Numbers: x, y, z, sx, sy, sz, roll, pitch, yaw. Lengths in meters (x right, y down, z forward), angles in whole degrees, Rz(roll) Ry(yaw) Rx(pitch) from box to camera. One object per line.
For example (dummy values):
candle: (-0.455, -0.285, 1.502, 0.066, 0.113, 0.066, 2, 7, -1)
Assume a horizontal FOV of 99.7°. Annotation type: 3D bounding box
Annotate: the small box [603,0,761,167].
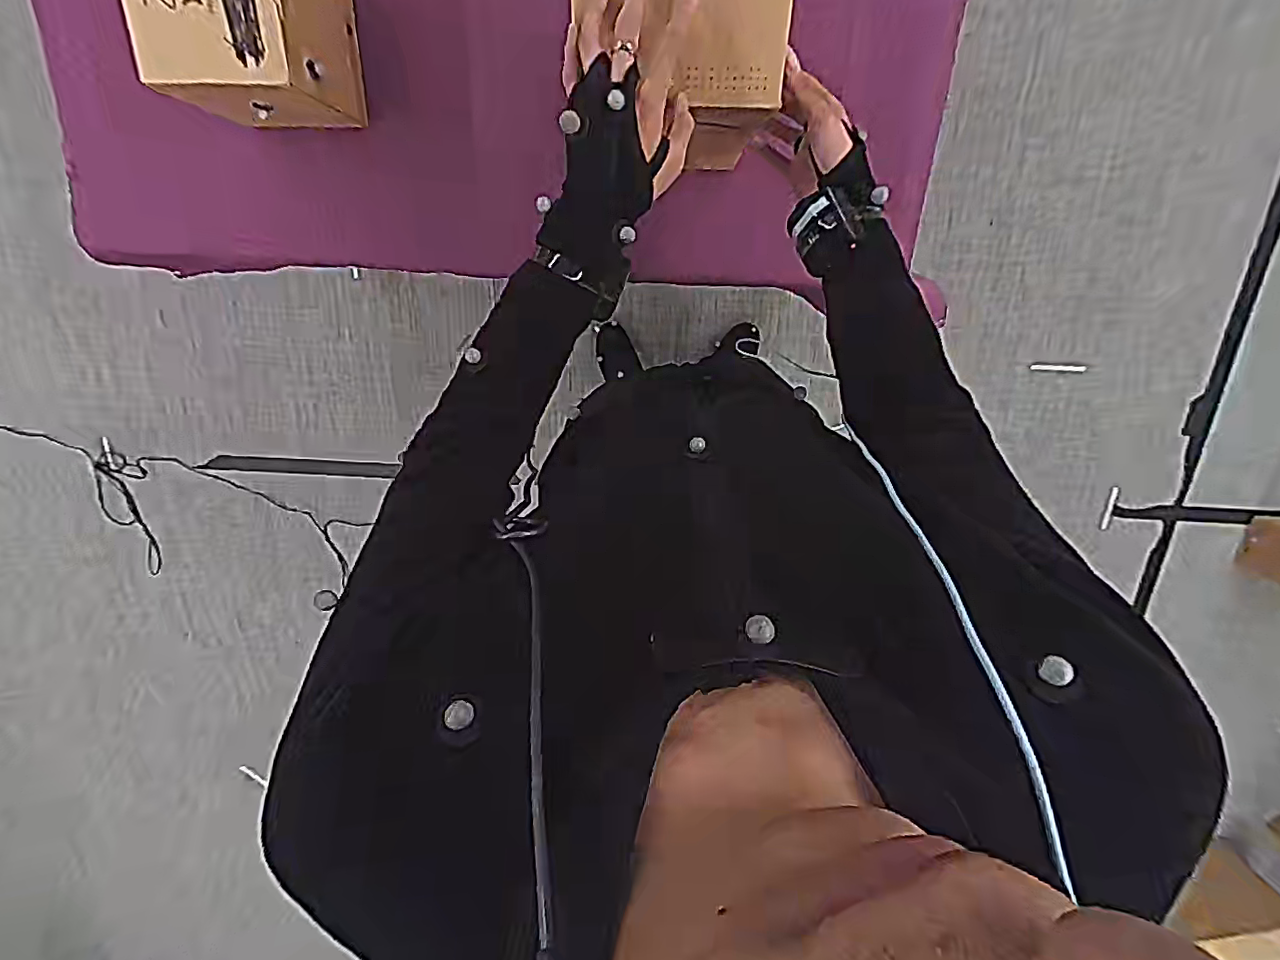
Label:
small box: (0.047, -0.493, 0.654, 0.168, 0.176, 0.179, 3, 109, 1)
